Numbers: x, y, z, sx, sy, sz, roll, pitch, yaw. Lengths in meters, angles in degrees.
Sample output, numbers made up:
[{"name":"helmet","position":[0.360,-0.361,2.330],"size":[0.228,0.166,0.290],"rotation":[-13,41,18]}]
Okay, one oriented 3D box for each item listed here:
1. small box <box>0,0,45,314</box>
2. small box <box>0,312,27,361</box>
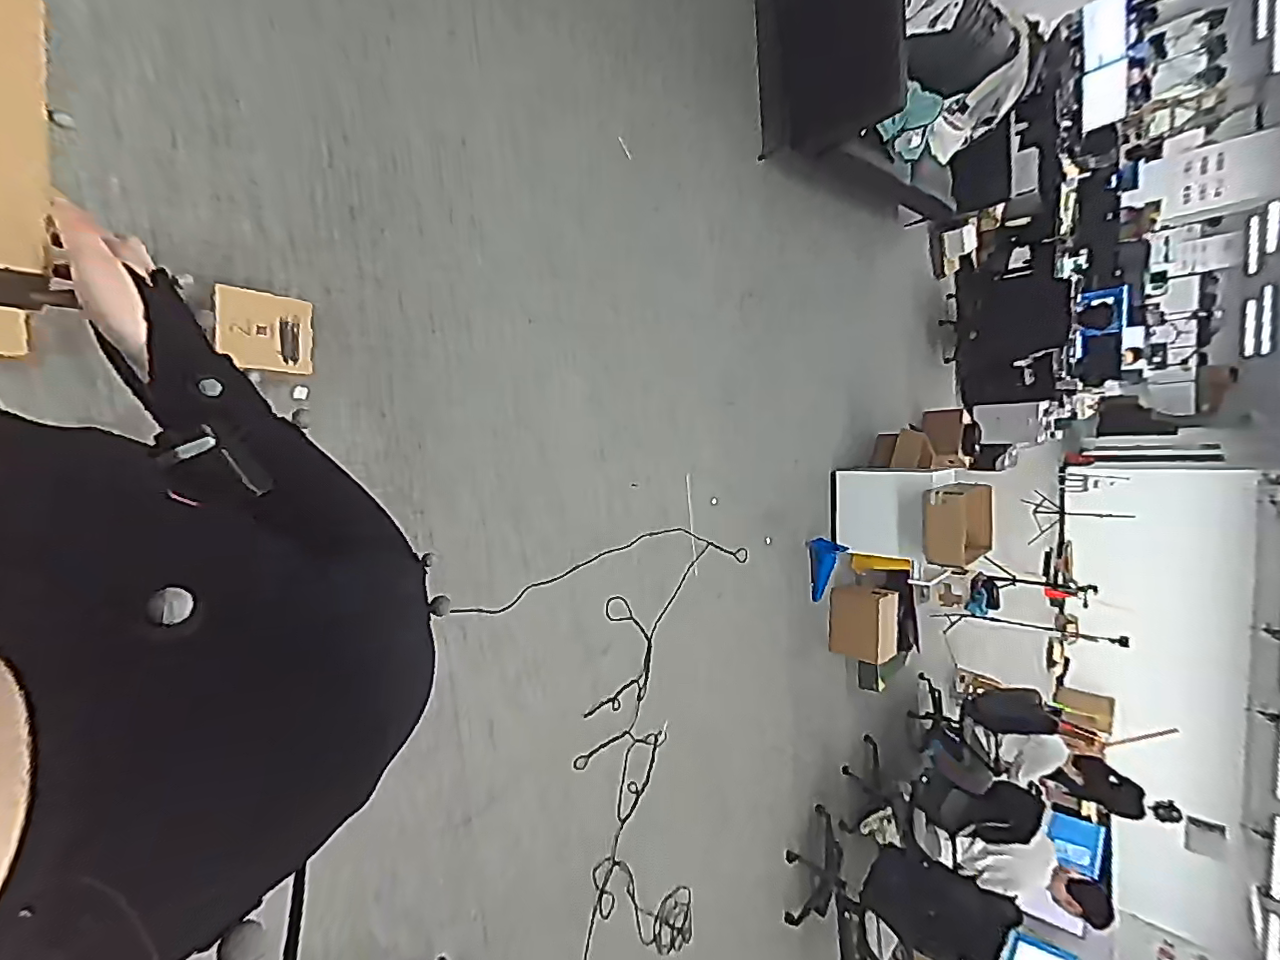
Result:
[{"name":"small box","position":[-0.502,-0.218,0.340],"size":[0.168,0.176,0.179],"rotation":[-2,95,-49]},{"name":"small box","position":[-1.169,-0.300,0.910],"size":[0.168,0.176,0.179],"rotation":[-5,96,-46]}]
